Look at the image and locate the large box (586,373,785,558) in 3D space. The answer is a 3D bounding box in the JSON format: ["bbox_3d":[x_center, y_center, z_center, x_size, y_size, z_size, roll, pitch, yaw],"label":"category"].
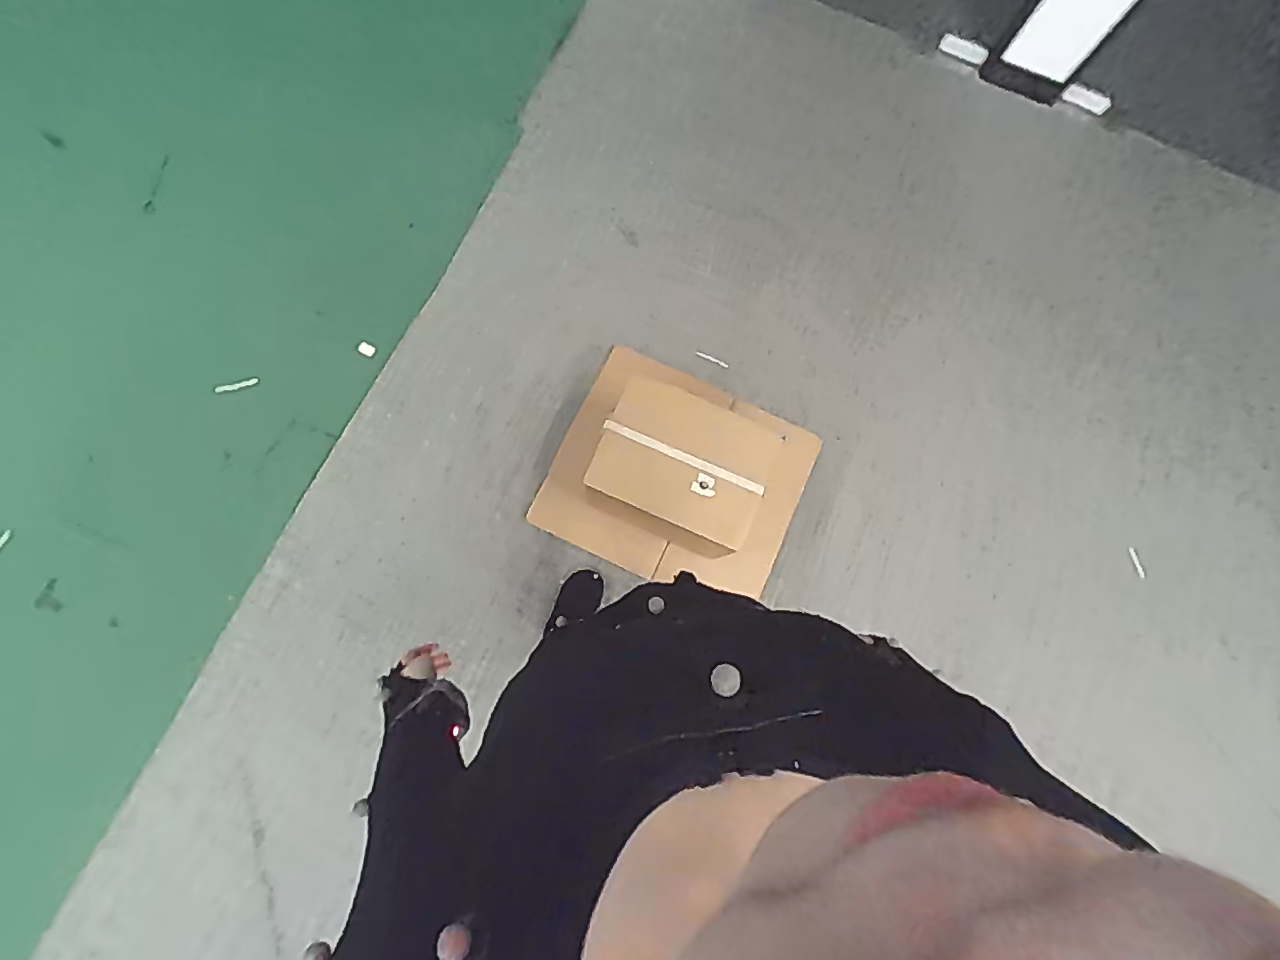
[{"bbox_3d":[0.098,-0.019,1.416,0.408,0.320,0.320,24,78,0],"label":"large box"}]
